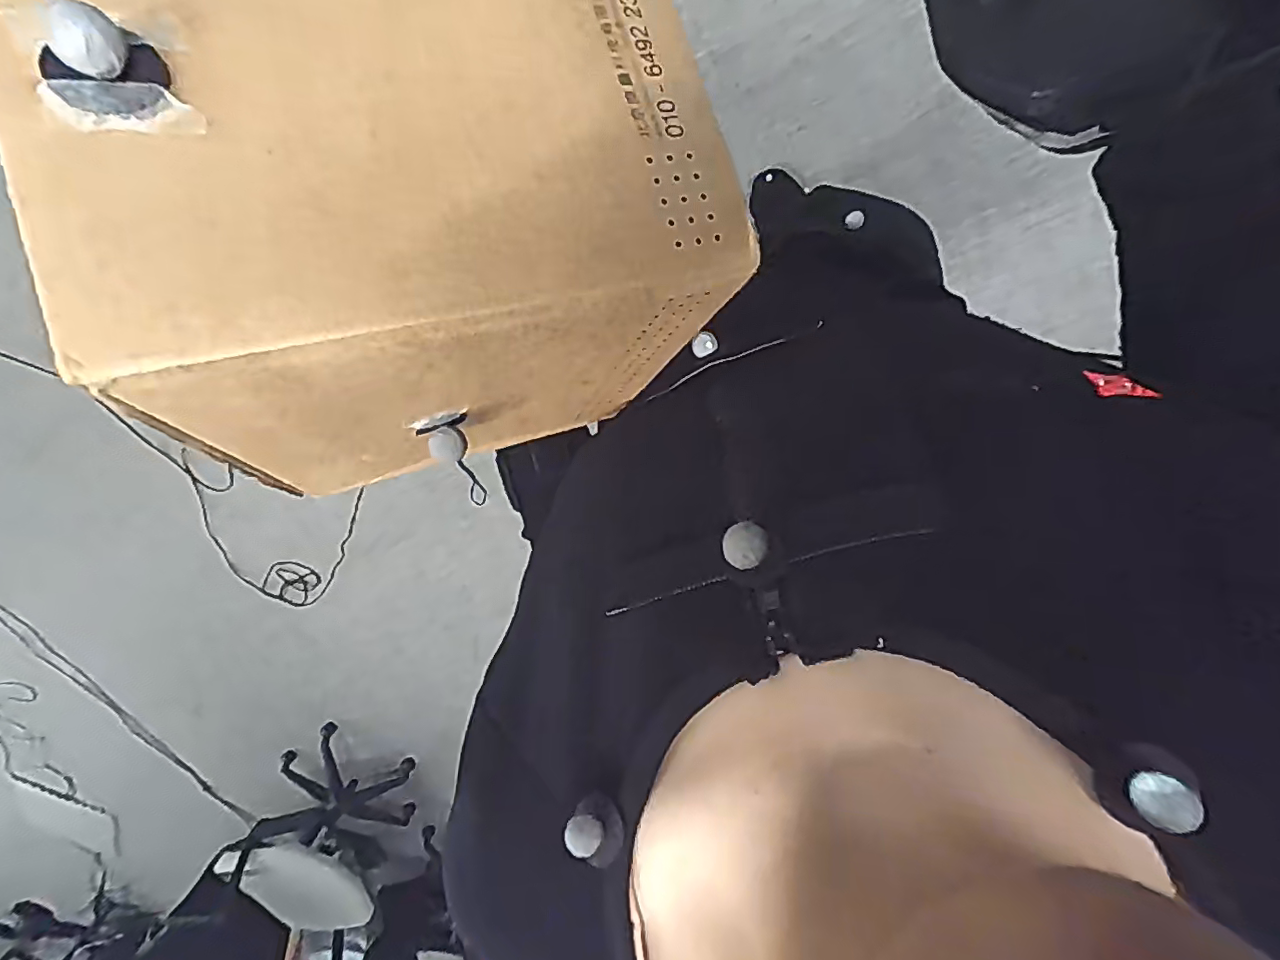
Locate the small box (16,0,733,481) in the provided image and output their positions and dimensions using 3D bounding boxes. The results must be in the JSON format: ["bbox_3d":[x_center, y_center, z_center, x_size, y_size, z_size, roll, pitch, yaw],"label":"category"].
[{"bbox_3d":[-0.087,-0.110,0.227,0.176,0.179,0.168,-18,86,-19],"label":"small box"}]
